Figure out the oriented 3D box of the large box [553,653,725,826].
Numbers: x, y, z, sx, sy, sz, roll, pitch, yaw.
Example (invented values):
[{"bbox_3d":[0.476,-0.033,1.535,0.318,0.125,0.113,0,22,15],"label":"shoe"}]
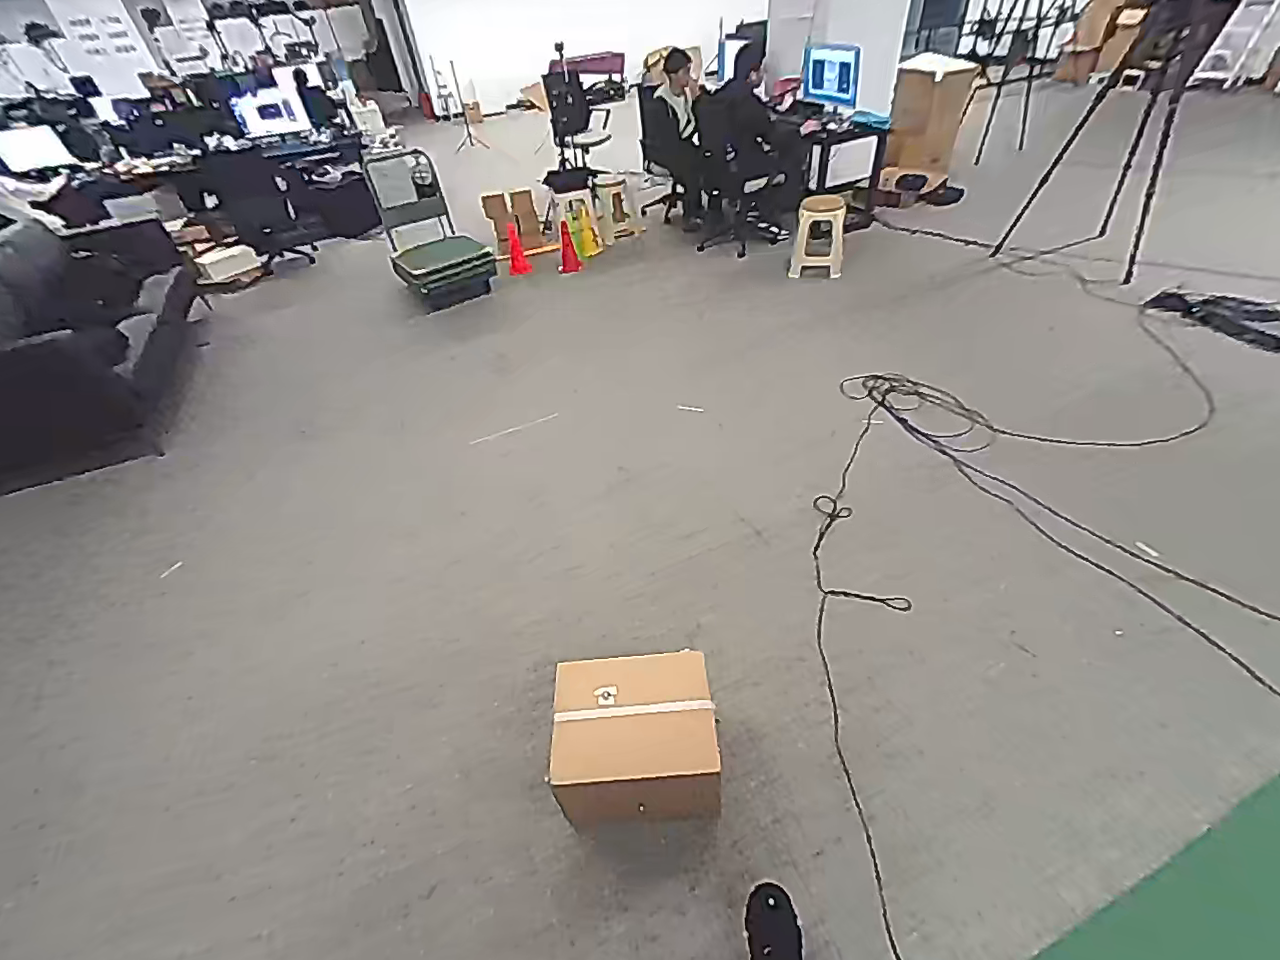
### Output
[{"bbox_3d":[0.005,0.701,1.456,0.408,0.320,0.320,-7,41,2],"label":"large box"}]
